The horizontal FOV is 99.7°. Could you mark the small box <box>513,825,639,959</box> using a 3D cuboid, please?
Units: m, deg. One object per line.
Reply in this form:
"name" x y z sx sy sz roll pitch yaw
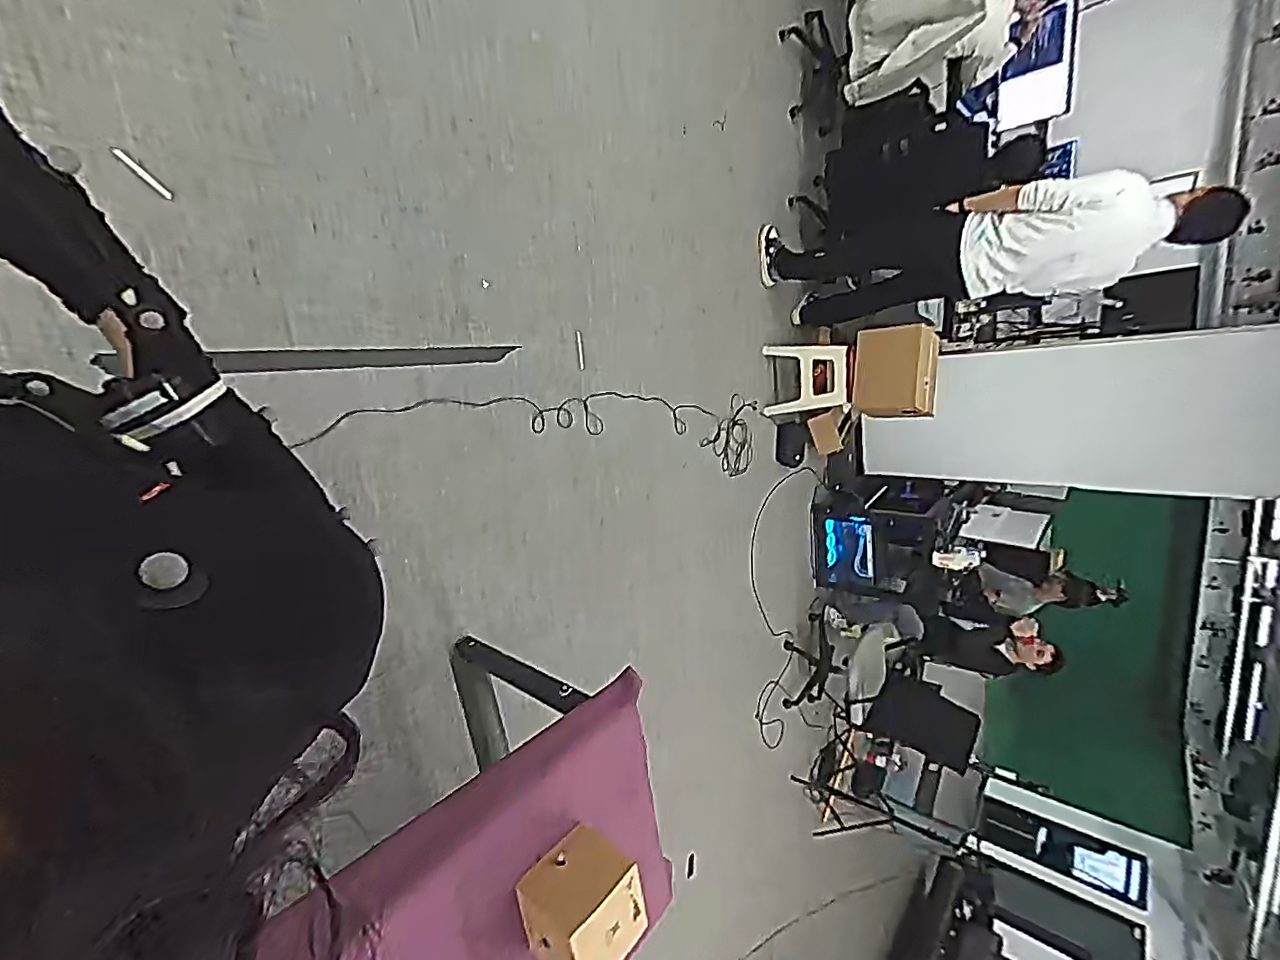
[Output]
"small box" -0.130 0.835 1.058 0.179 0.176 0.168 -22 110 -45
